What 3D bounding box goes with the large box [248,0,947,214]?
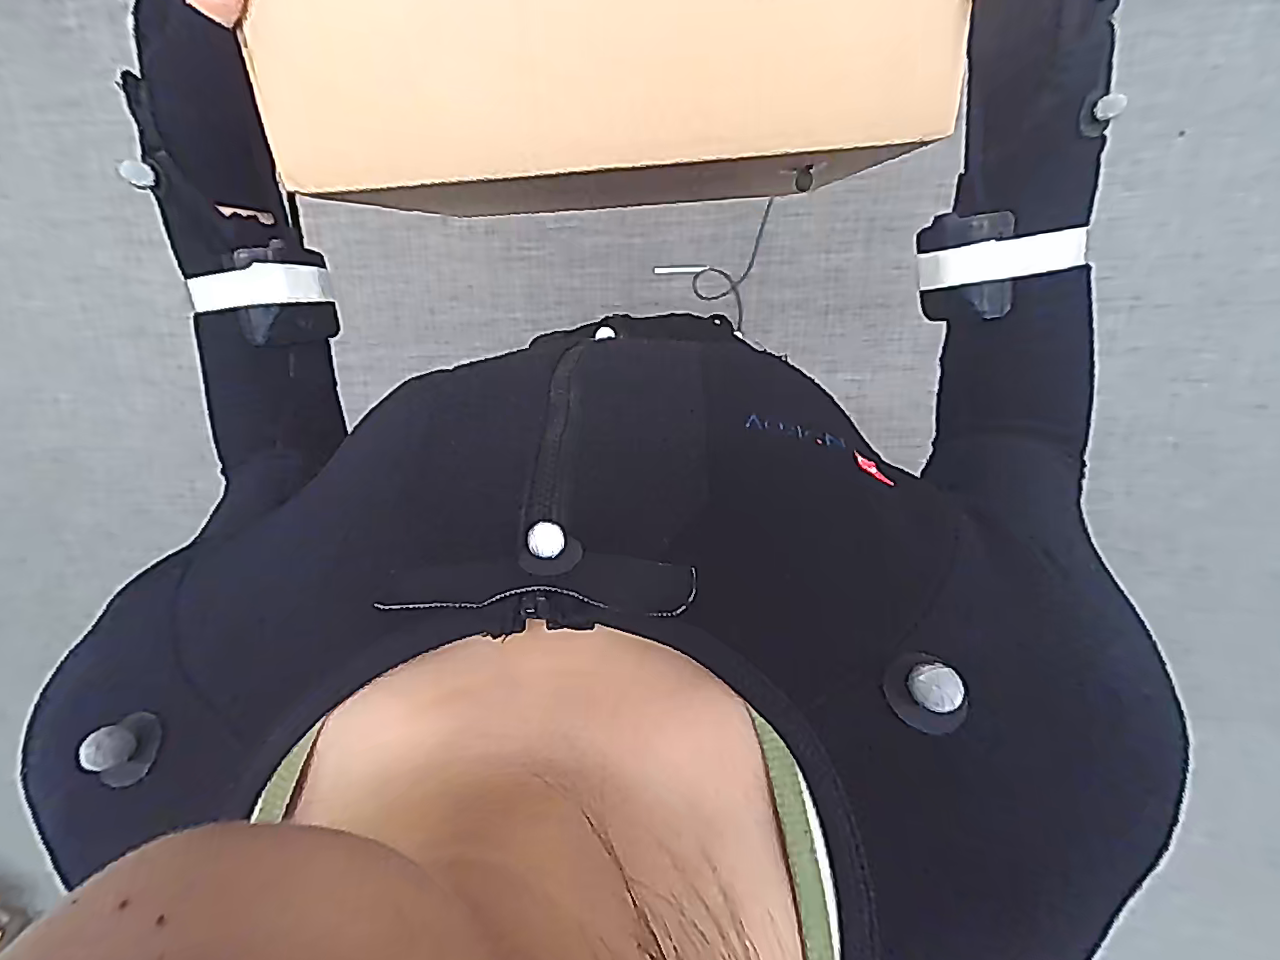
[{"bbox_3d":[-0.024,-0.396,0.416,0.408,0.320,0.320,-2,113,4],"label":"large box"}]
